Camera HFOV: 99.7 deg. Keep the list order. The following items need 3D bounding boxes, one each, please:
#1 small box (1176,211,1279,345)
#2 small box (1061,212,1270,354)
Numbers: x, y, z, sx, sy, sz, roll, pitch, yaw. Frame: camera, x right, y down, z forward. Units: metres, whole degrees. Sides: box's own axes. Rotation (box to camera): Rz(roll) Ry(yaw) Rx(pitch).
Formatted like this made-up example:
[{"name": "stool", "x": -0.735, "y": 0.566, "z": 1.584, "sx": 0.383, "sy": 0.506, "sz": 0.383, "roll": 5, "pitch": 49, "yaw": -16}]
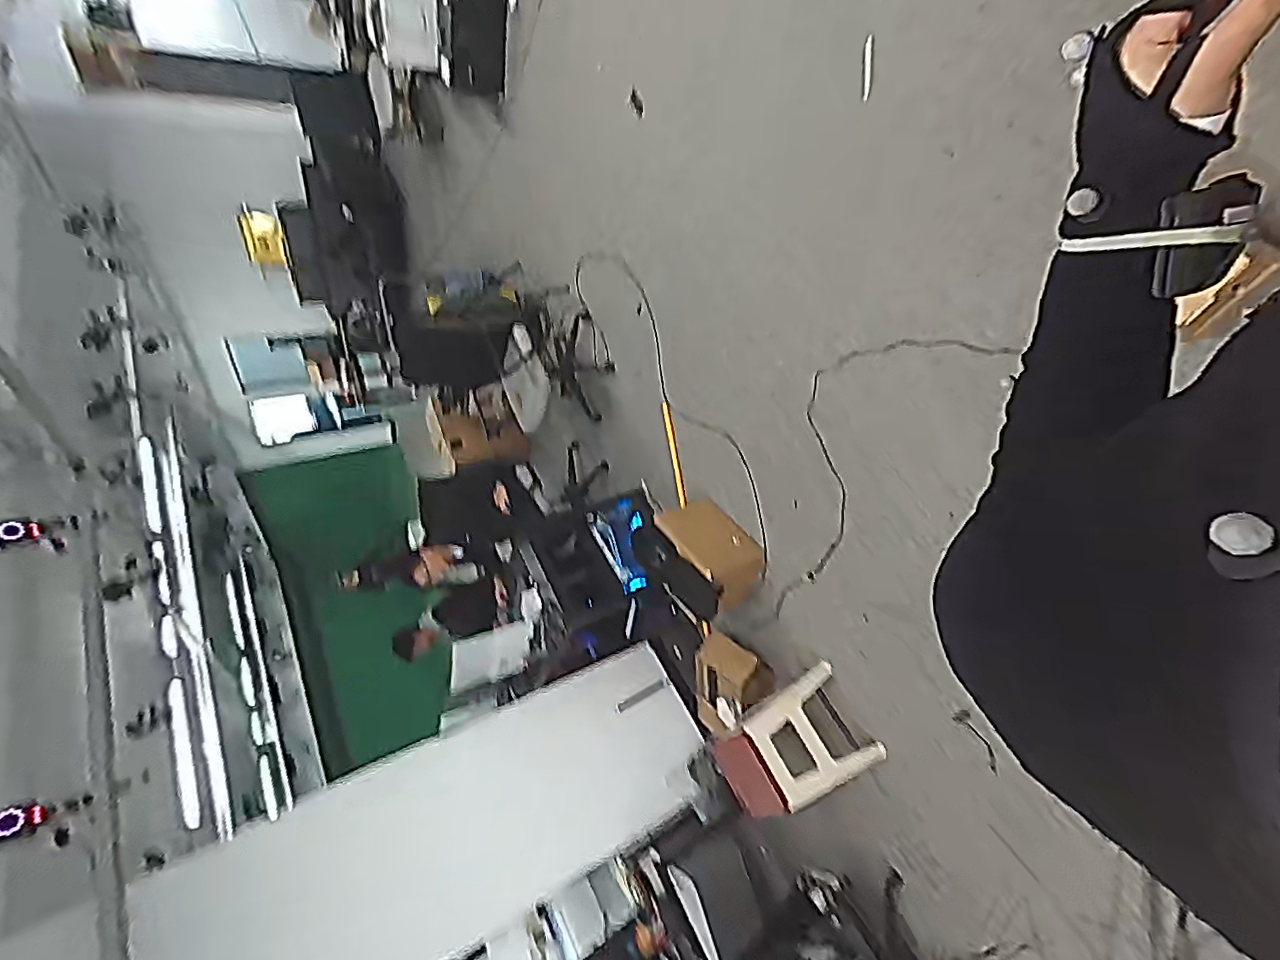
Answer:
[{"name": "small box", "x": 1.035, "y": -0.374, "z": 1.005, "sx": 0.179, "sy": 0.176, "sz": 0.168, "roll": 56, "pitch": 145, "yaw": 27}, {"name": "small box", "x": 0.897, "y": -0.340, "z": 0.927, "sx": 0.179, "sy": 0.176, "sz": 0.168, "roll": 55, "pitch": 144, "yaw": 31}]
